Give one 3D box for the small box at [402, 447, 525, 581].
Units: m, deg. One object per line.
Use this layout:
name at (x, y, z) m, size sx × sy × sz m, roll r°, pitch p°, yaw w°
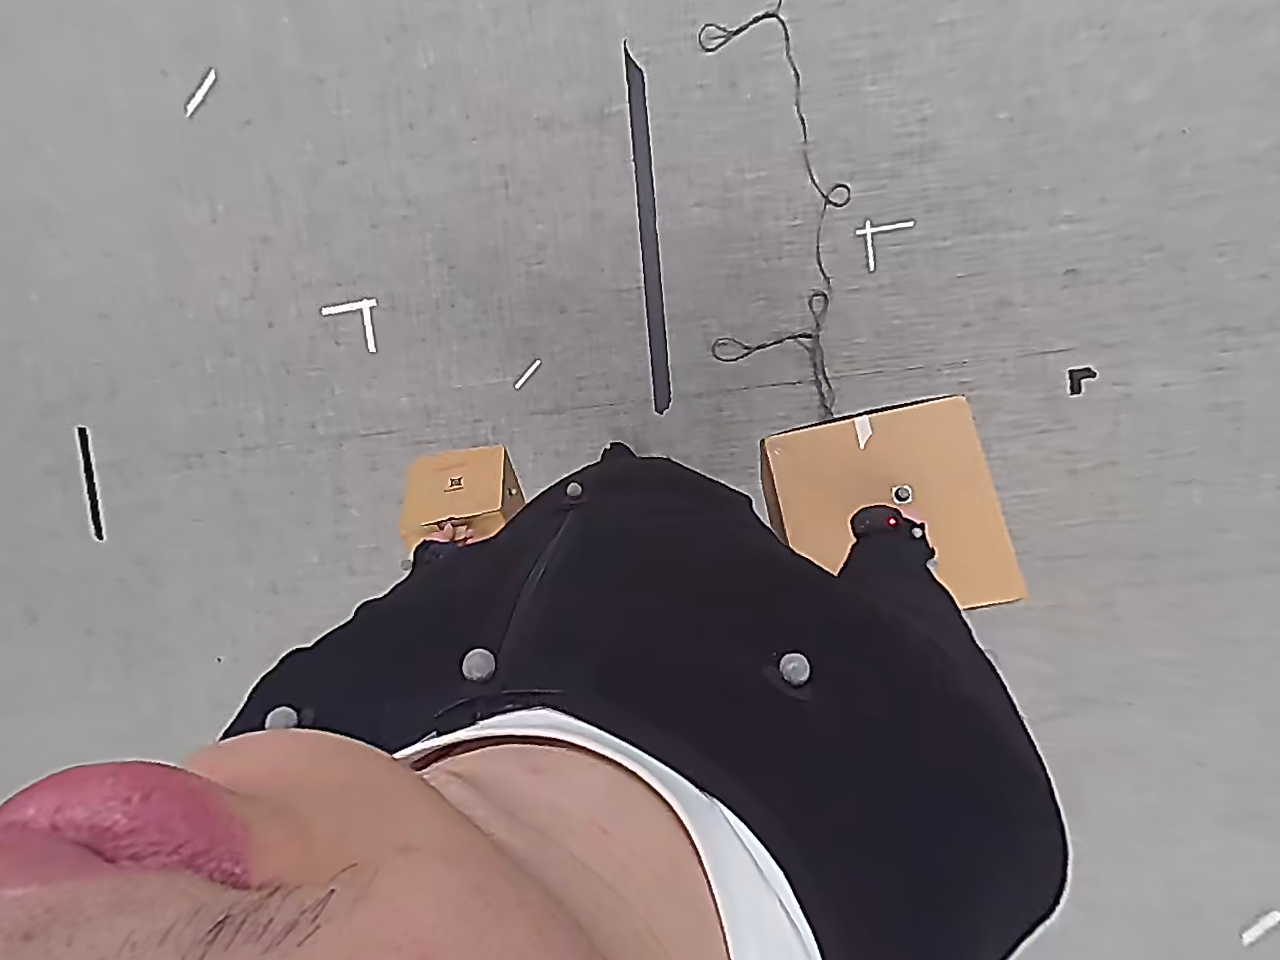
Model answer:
small box at (-0.311, 0.068, 0.993) m, size 0.168 × 0.179 × 0.176 m, roll -10°, pitch 132°, yaw -3°
